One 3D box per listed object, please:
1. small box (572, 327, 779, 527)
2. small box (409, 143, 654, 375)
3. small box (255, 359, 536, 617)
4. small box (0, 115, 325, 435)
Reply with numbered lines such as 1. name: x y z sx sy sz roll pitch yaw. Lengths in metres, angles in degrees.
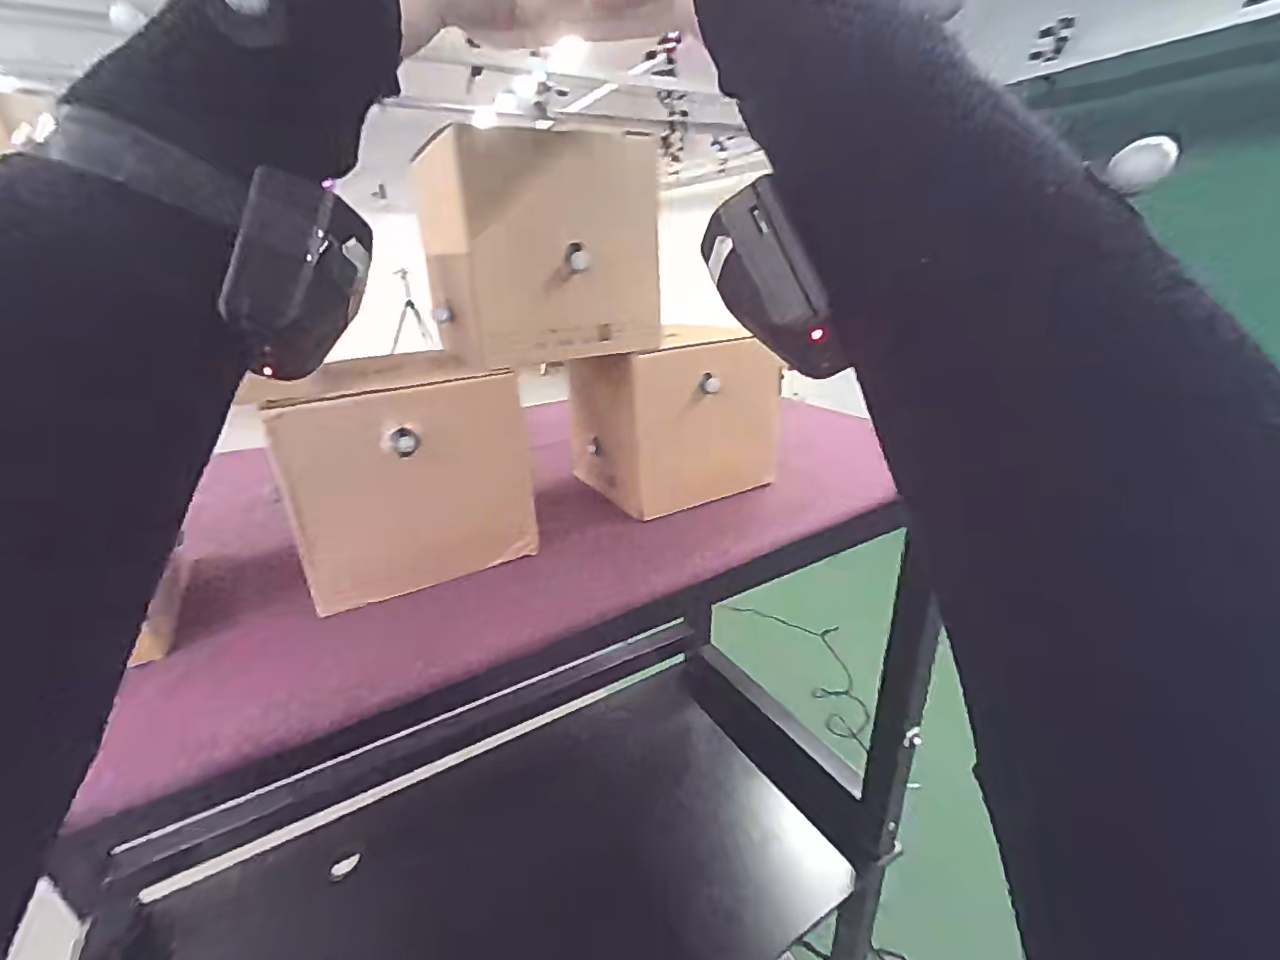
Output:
1. small box: 0.033 -0.069 0.608 0.179 0.176 0.168 -16 25 -26
2. small box: -0.097 -0.193 0.494 0.168 0.176 0.179 -14 25 -27
3. small box: -0.207 -0.005 0.480 0.179 0.176 0.168 -14 25 -26
4. small box: -0.330 -0.133 0.374 0.168 0.176 0.179 -13 24 -25
